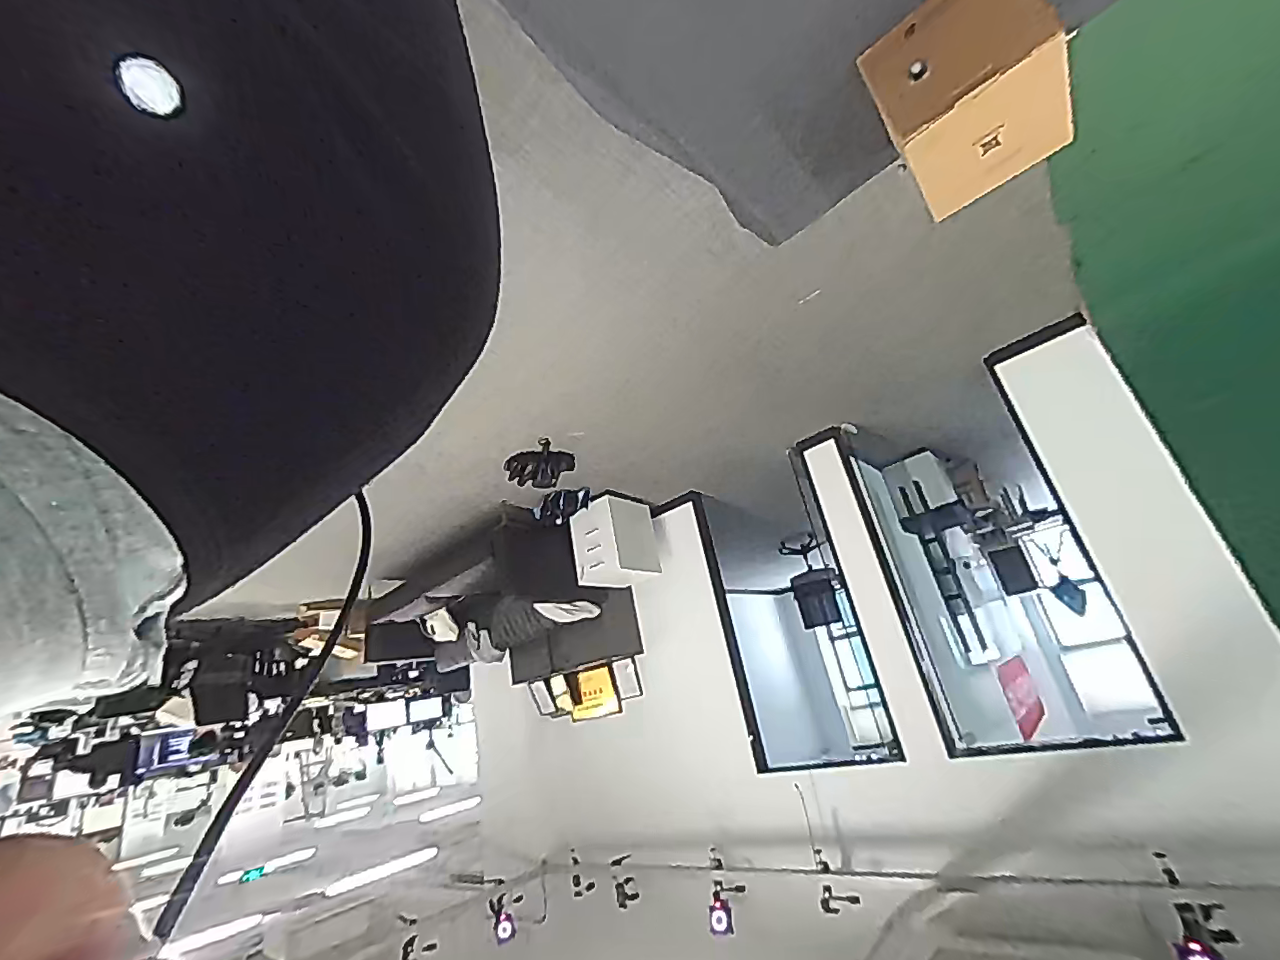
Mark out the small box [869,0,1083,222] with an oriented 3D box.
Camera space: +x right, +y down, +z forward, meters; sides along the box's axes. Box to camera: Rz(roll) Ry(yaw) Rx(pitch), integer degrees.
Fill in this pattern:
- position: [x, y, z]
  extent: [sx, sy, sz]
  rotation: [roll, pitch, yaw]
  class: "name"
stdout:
- position: [0.412, -0.475, 0.673]
  extent: [0.168, 0.176, 0.179]
  rotation: [-26, 155, 35]
  class: "small box"
